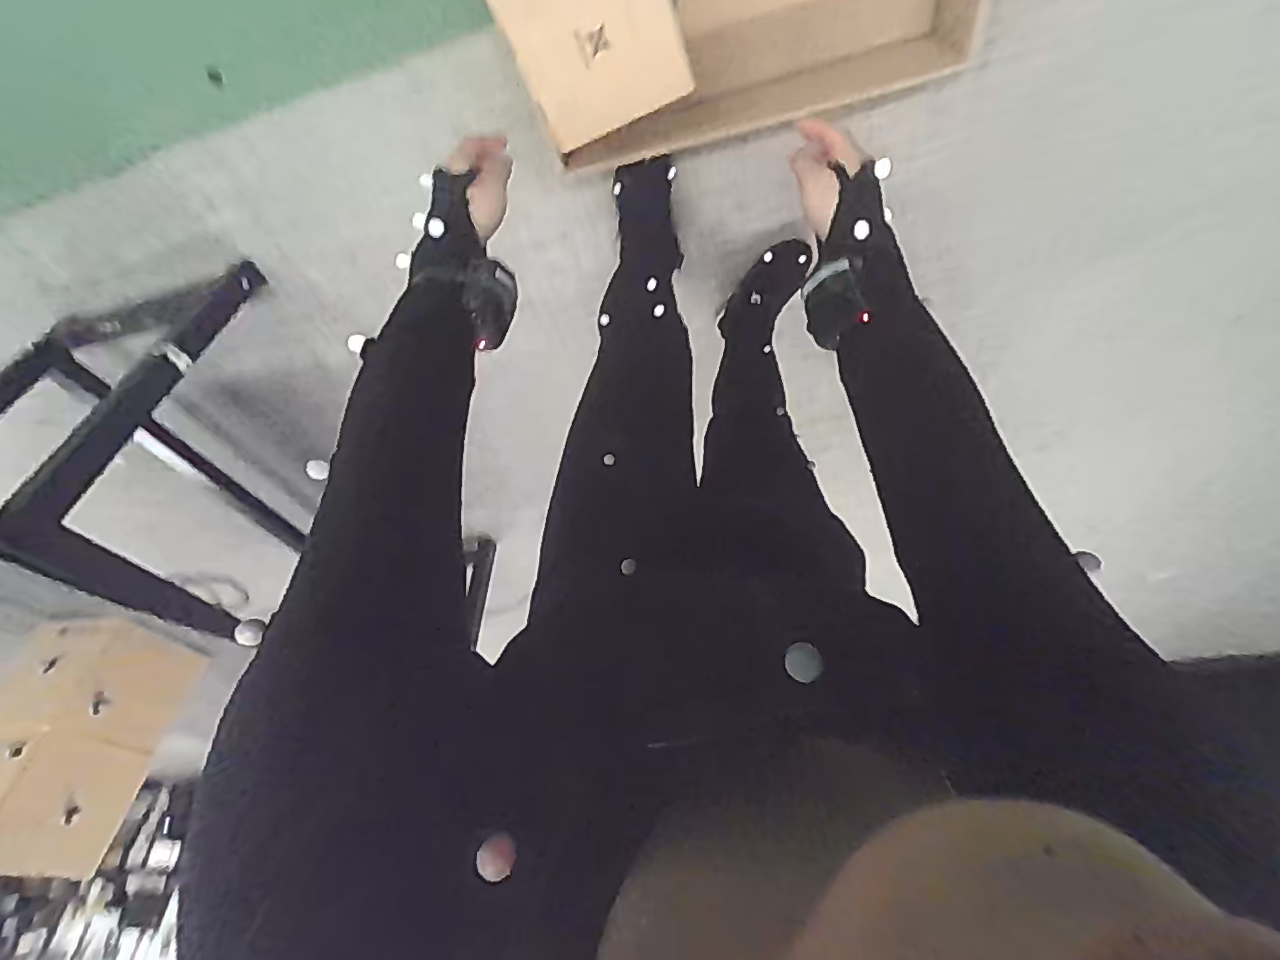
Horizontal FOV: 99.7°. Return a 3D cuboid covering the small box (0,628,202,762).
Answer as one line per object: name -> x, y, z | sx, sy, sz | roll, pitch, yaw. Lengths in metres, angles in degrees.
small box -> -0.876, 0.345, 0.870 | 0.168, 0.176, 0.179 | -5, 141, 10

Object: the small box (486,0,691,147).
small box -> -0.053, -0.534, 0.627 | 0.179, 0.176, 0.168 | -17, 139, 16

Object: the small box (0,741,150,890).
small box -> -0.888, 0.483, 0.779 | 0.168, 0.176, 0.179 | -6, 142, 10
